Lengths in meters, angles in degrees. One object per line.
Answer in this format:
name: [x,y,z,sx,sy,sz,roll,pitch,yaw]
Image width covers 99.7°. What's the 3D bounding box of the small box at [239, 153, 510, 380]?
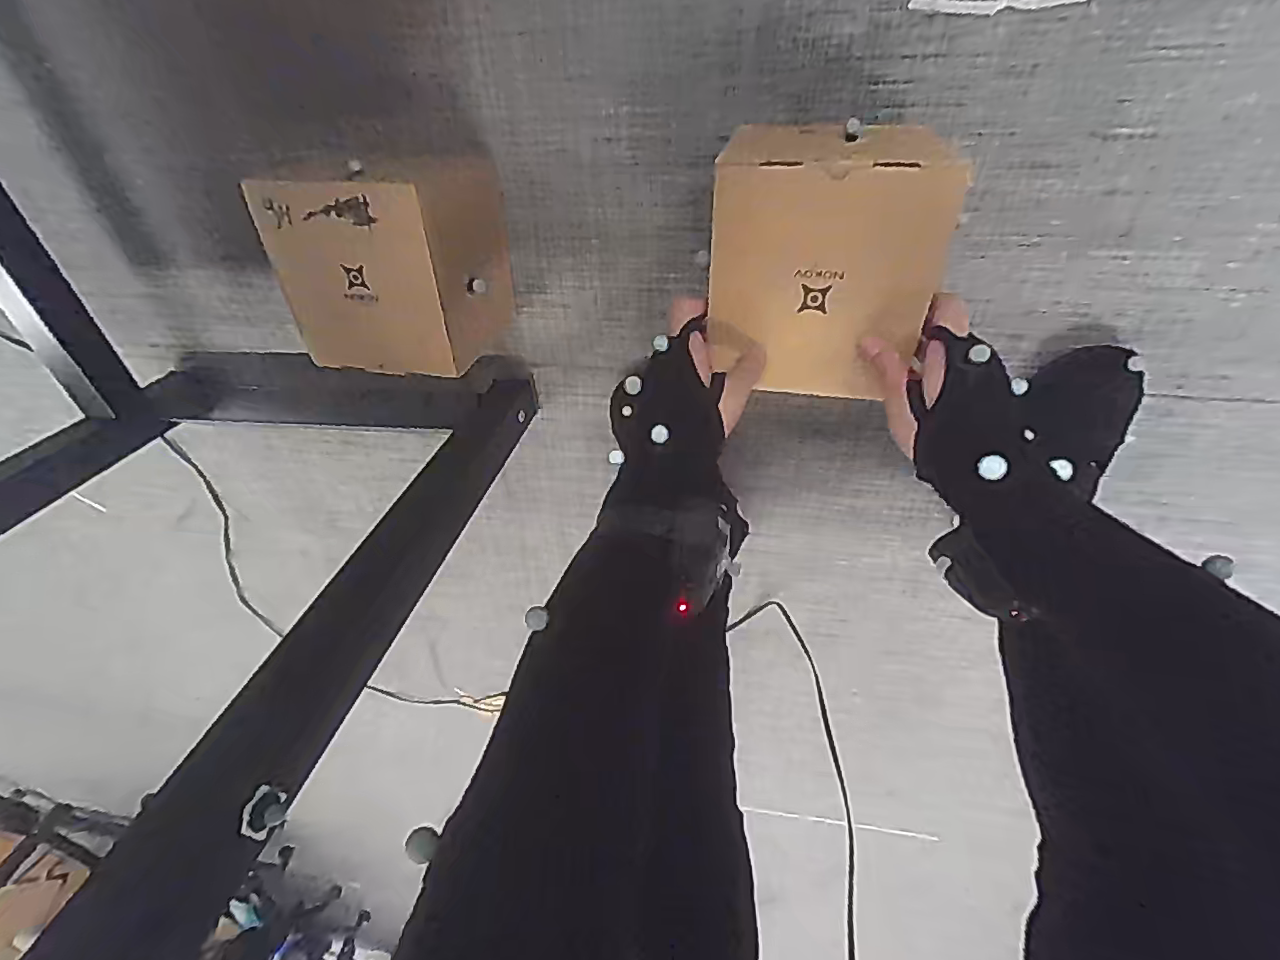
small box: [-0.249,-0.227,0.564,0.168,0.176,0.179,7,128,9]
